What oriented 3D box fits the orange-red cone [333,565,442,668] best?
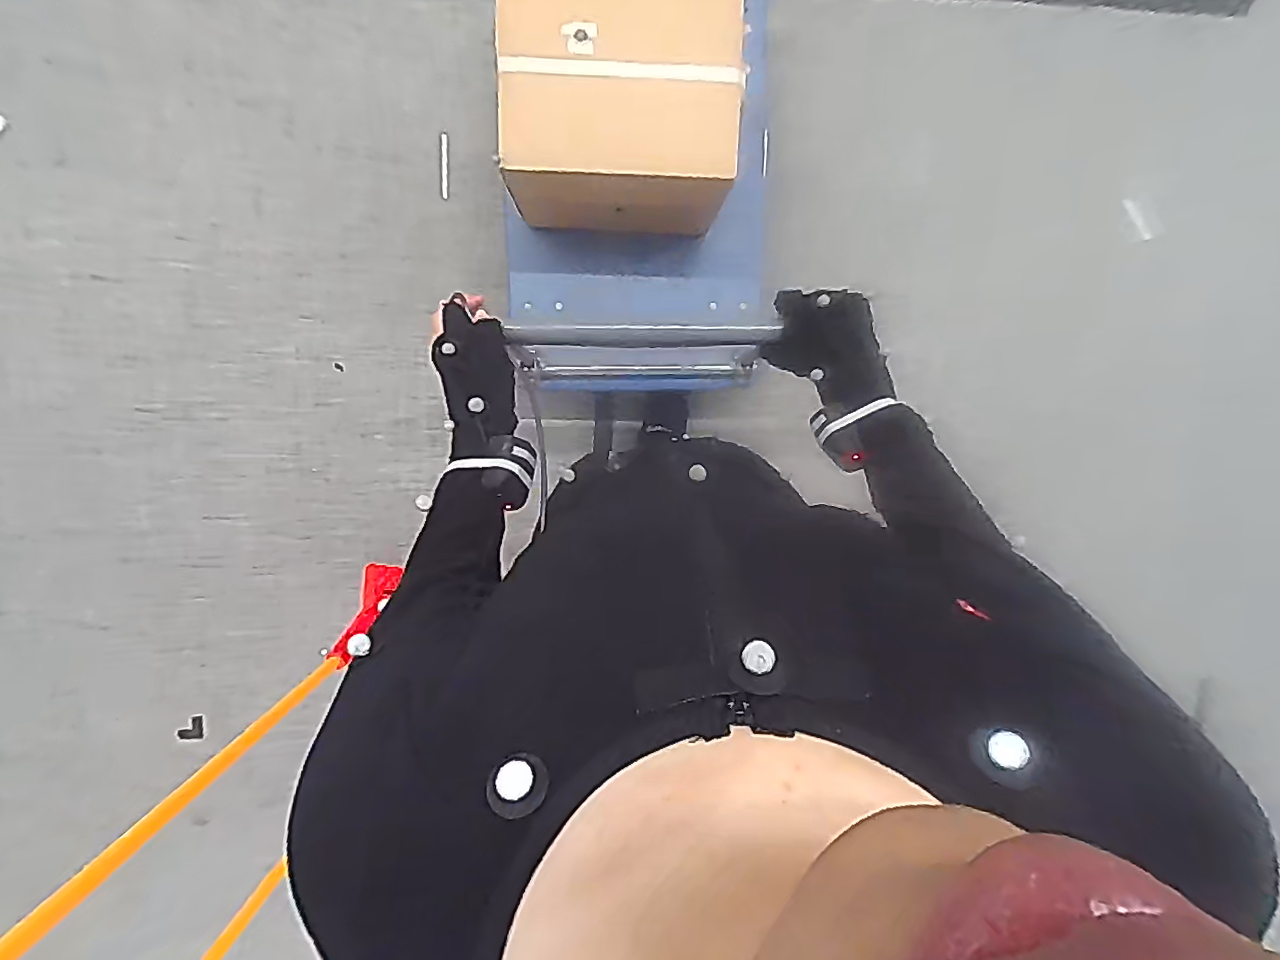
[{"bbox_3d":[-0.644,0.357,1.318,0.198,0.360,0.199,9,96,-4],"label":"orange-red cone"}]

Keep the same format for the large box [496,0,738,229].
[{"bbox_3d":[-0.040,-0.692,1.048,0.408,0.320,0.320,1,98,-2],"label":"large box"}]
